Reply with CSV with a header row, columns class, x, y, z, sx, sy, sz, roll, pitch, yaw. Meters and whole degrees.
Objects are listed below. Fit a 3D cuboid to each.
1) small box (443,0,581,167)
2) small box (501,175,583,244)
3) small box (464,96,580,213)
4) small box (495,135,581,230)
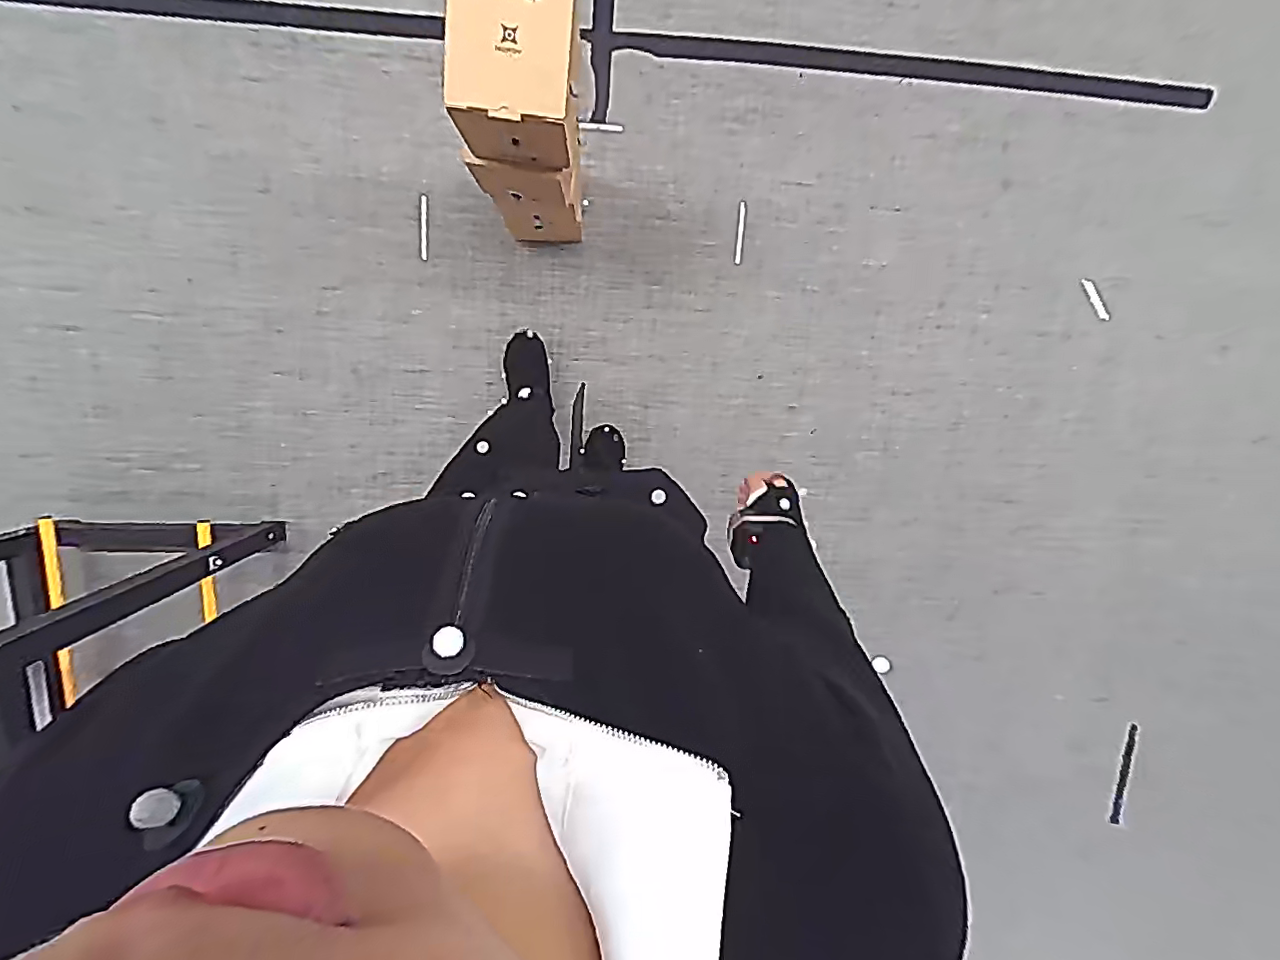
class,x,y,z,sx,sy,sz,roll,pitch,yaw
small box,-0.178,-0.586,0.791,0.168,0.176,0.179,6,100,-4
small box,-0.227,-0.665,1.273,0.179,0.176,0.168,-1,100,-4
small box,-0.200,-0.601,0.954,0.168,0.176,0.179,9,100,-5
small box,-0.210,-0.636,1.112,0.168,0.176,0.179,3,100,-4
